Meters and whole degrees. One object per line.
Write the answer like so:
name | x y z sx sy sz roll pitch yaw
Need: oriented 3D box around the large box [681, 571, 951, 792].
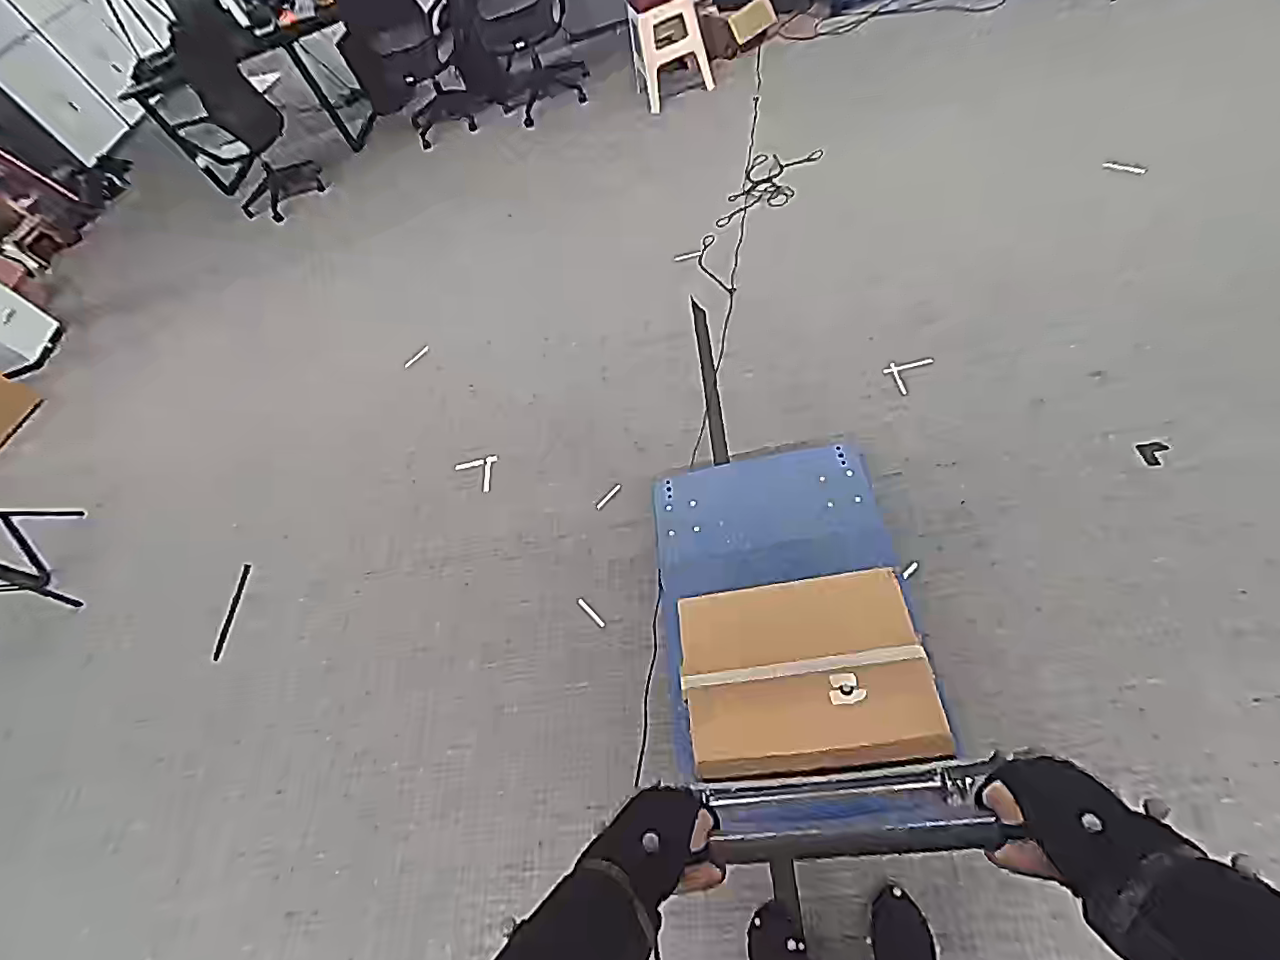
large box | 0.318 0.413 1.073 0.408 0.320 0.320 -11 56 10
